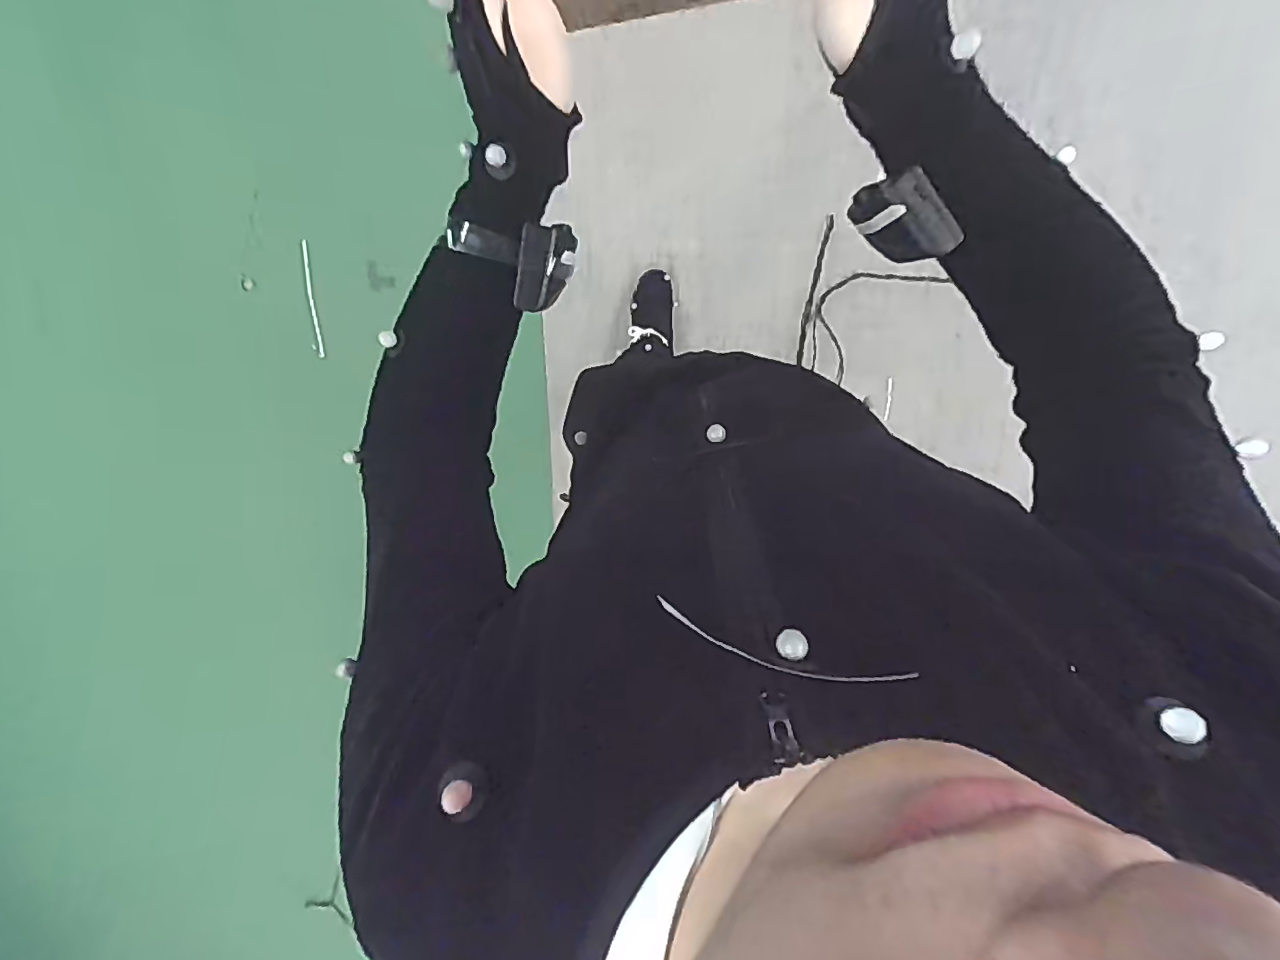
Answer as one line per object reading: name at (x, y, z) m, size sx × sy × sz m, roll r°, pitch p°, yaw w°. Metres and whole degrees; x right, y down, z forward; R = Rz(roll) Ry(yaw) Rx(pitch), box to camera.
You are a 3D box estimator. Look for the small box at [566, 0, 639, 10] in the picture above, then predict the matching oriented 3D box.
small box at (0.002, -0.417, 0.313) m, size 0.168 × 0.176 × 0.179 m, roll -6°, pitch 109°, yaw 6°
